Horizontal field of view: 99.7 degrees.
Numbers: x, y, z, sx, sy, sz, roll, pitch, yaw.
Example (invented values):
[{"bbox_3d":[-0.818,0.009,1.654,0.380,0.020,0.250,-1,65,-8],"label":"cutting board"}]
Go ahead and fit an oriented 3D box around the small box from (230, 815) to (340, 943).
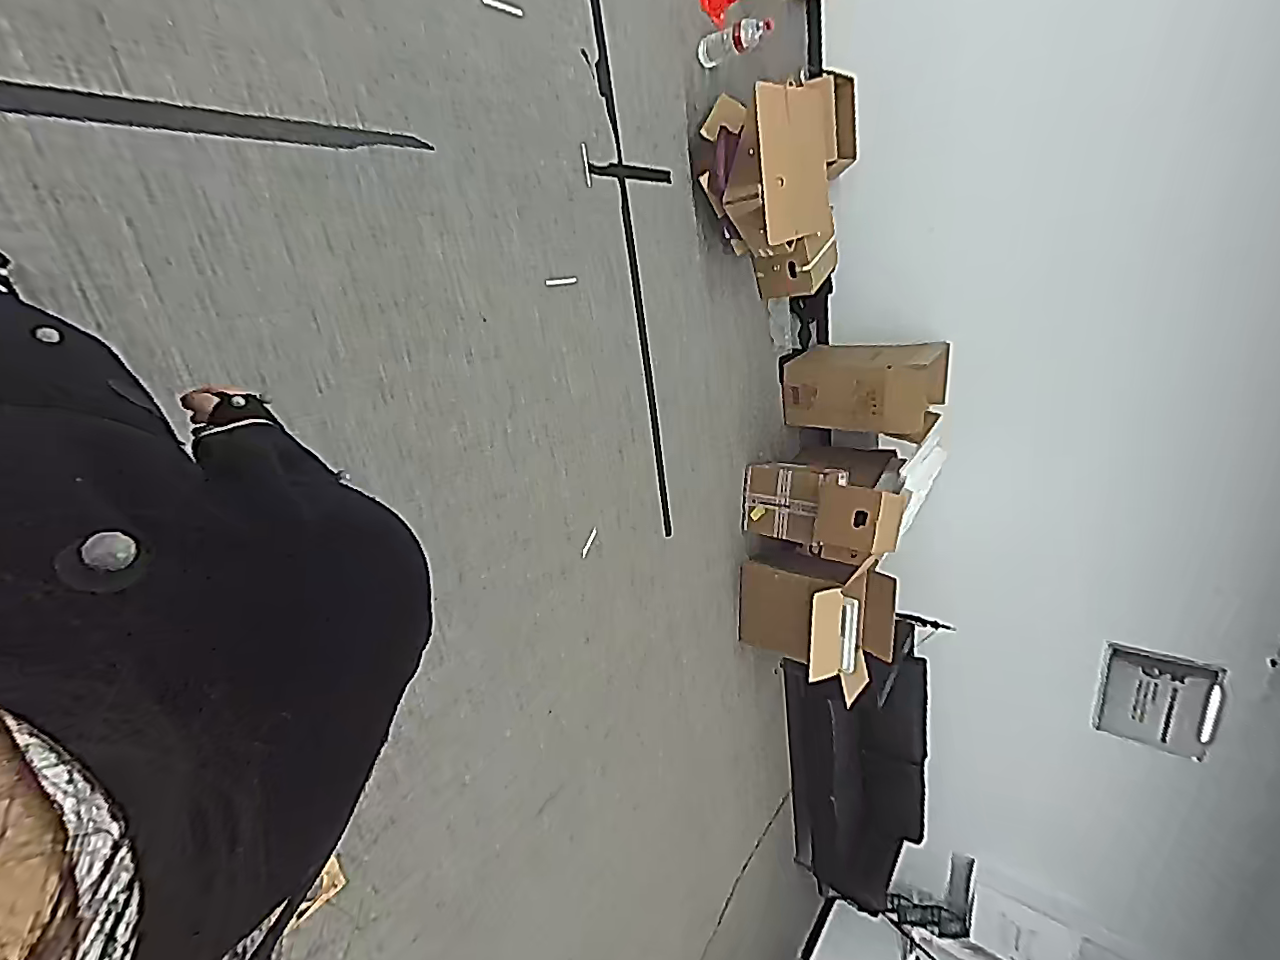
[{"bbox_3d":[-0.902,0.995,1.373,0.168,0.176,0.179,-26,115,-46],"label":"small box"}]
